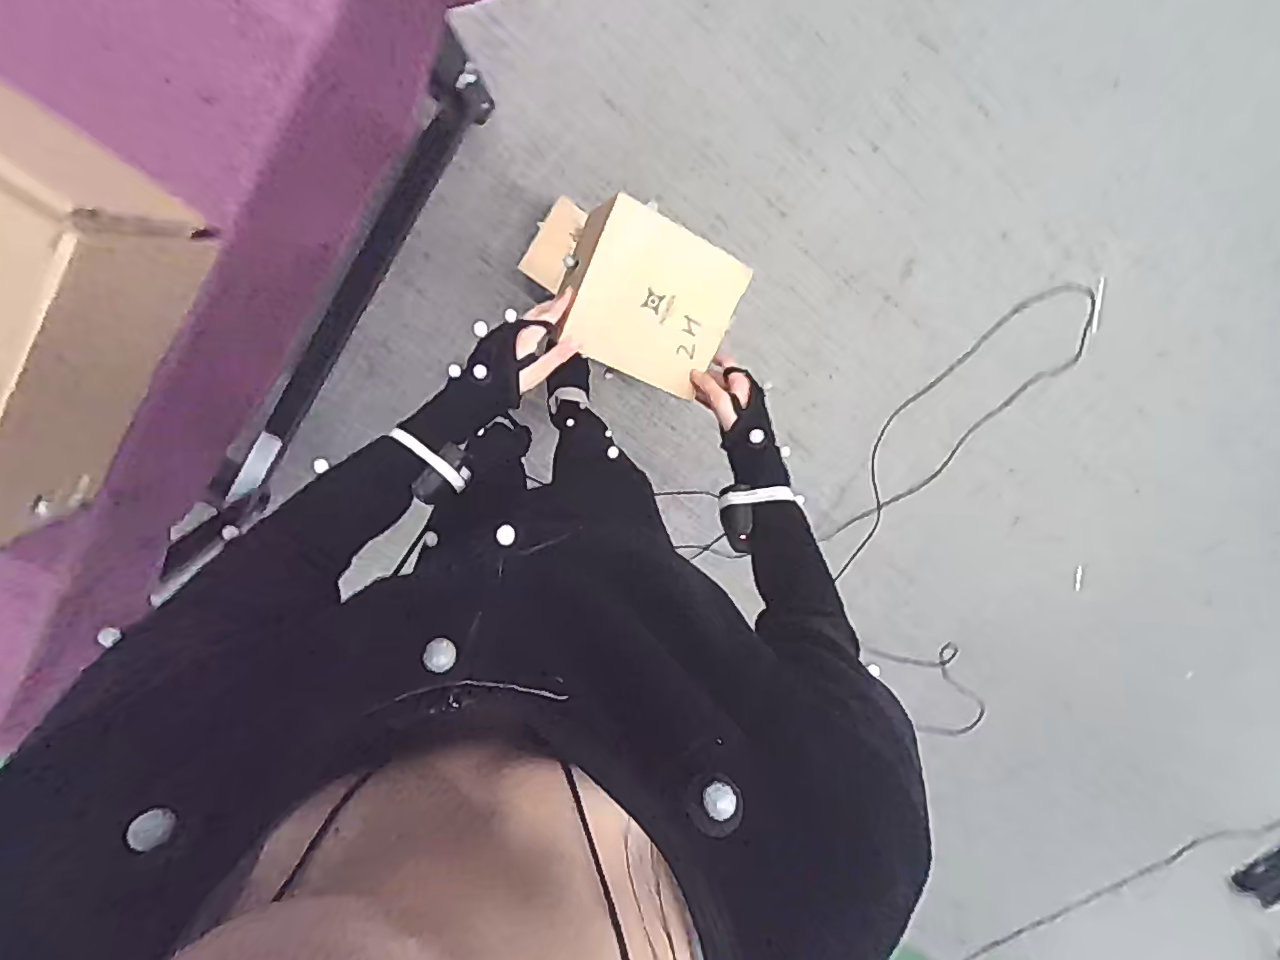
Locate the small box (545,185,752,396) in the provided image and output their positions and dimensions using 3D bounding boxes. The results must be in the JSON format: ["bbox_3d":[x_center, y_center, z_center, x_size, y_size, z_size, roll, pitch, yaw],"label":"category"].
[{"bbox_3d":[-0.004,-0.221,0.657,0.179,0.176,0.168,20,103,-23],"label":"small box"}]
